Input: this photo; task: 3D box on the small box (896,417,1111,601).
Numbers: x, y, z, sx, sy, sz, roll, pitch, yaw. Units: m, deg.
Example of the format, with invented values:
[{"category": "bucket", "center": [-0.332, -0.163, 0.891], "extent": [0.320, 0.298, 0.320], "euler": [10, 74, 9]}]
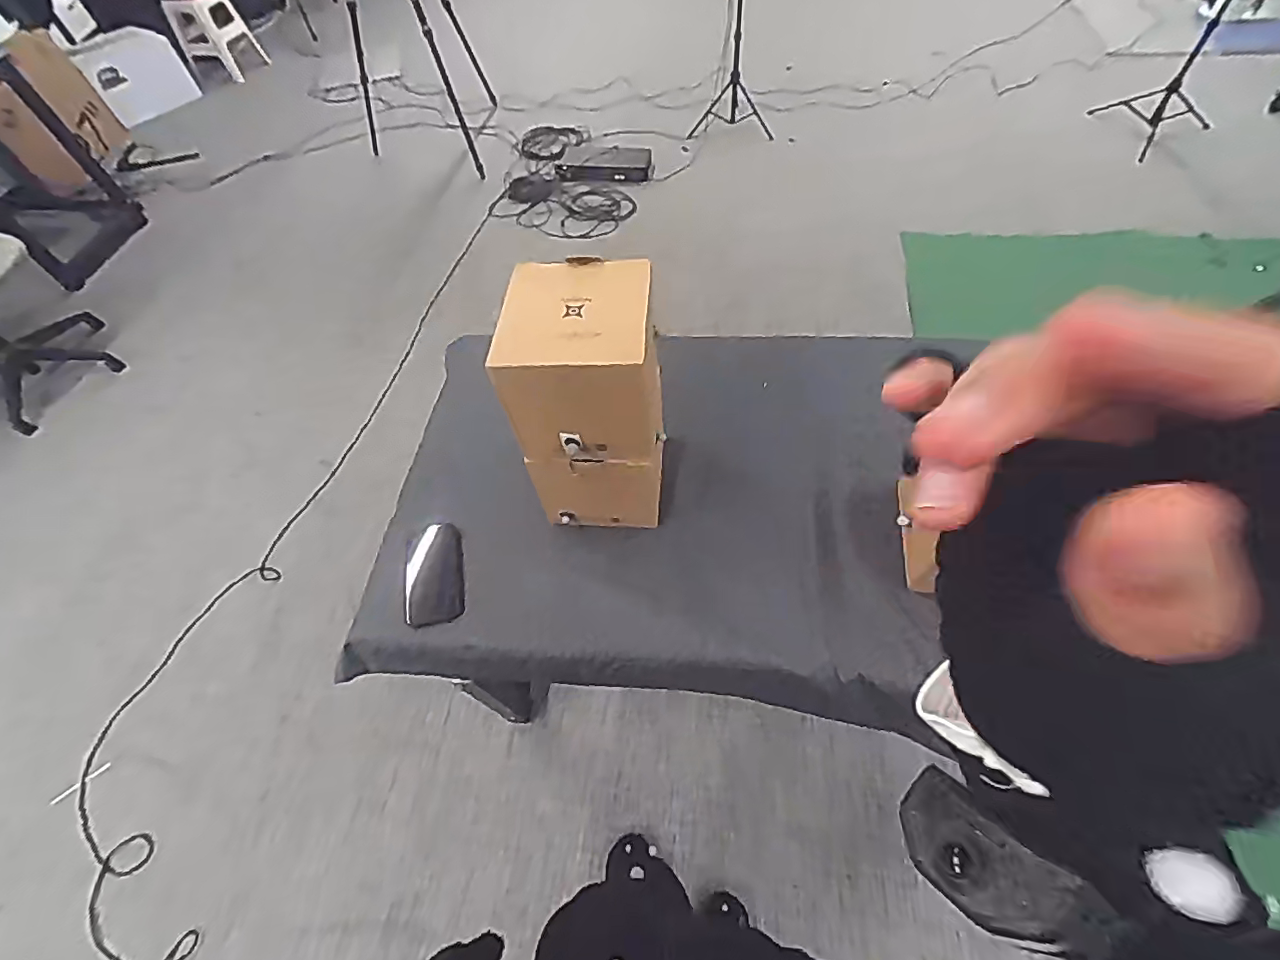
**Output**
[{"category": "small box", "center": [0.448, 0.042, 0.703], "extent": [0.168, 0.176, 0.179], "euler": [6, 57, 8]}]

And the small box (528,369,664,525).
[{"category": "small box", "center": [-0.052, -0.047, 0.800], "extent": [0.168, 0.176, 0.179], "euler": [2, 56, 5]}]

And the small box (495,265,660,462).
[{"category": "small box", "center": [-0.062, -0.140, 0.667], "extent": [0.168, 0.176, 0.179], "euler": [-1, 57, 5]}]
